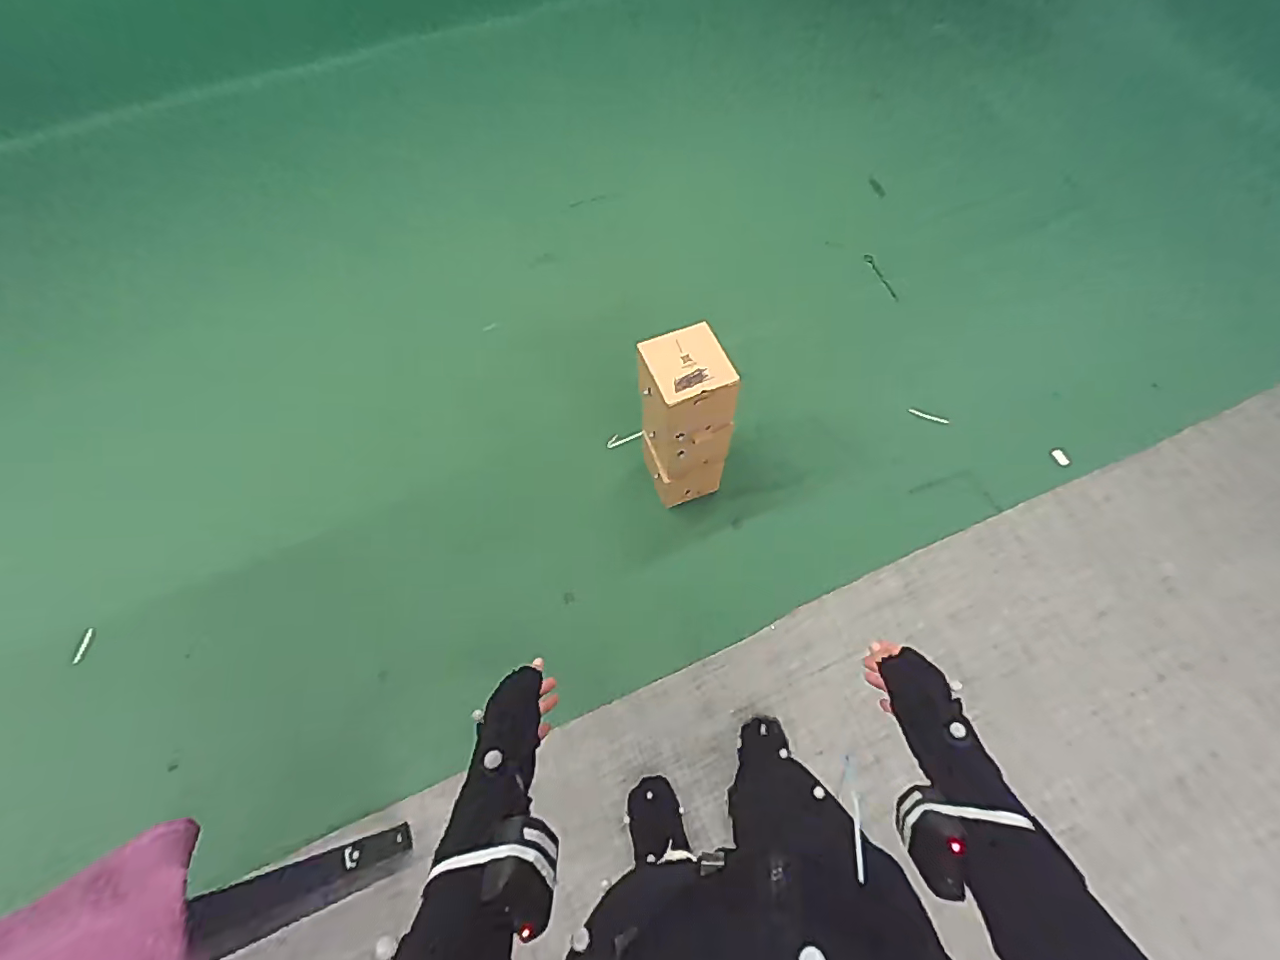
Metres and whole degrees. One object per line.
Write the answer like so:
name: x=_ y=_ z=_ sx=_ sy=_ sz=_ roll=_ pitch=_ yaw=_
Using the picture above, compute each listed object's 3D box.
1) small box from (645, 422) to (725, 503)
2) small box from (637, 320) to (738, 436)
small box: x=0.118 y=-0.063 z=1.500 sx=0.168 sy=0.176 sz=0.179 roll=-20 pitch=66 yaw=-8
small box: x=0.103 y=-0.217 z=1.208 sx=0.168 sy=0.176 sz=0.179 roll=-20 pitch=64 yaw=-8
